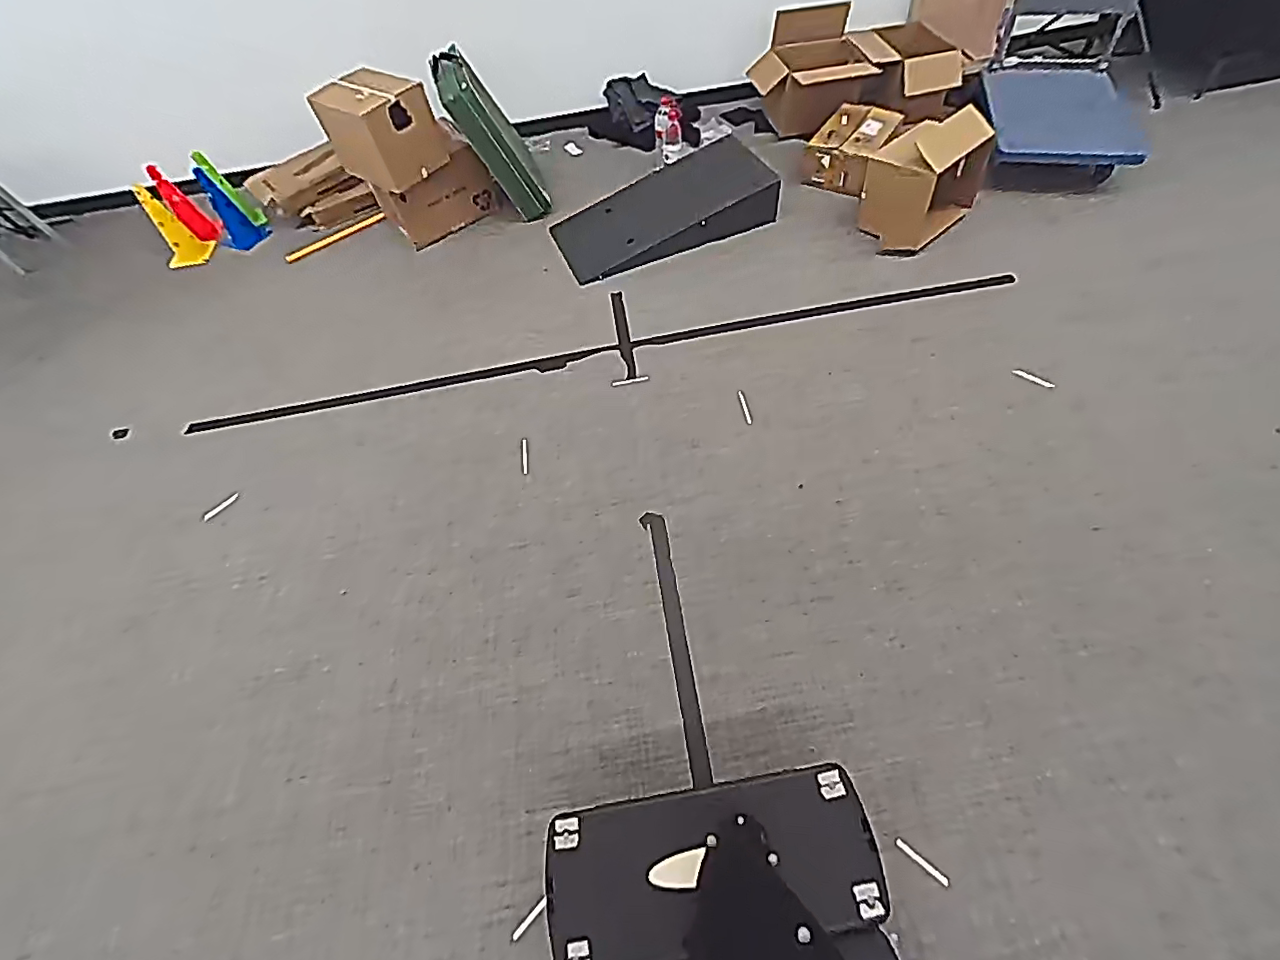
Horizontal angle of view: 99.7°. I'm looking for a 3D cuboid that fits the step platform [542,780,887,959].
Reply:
[{"bbox_3d":[0.140,0.850,1.135,0.684,0.204,0.286,-10,57,-2],"label":"step platform"}]
